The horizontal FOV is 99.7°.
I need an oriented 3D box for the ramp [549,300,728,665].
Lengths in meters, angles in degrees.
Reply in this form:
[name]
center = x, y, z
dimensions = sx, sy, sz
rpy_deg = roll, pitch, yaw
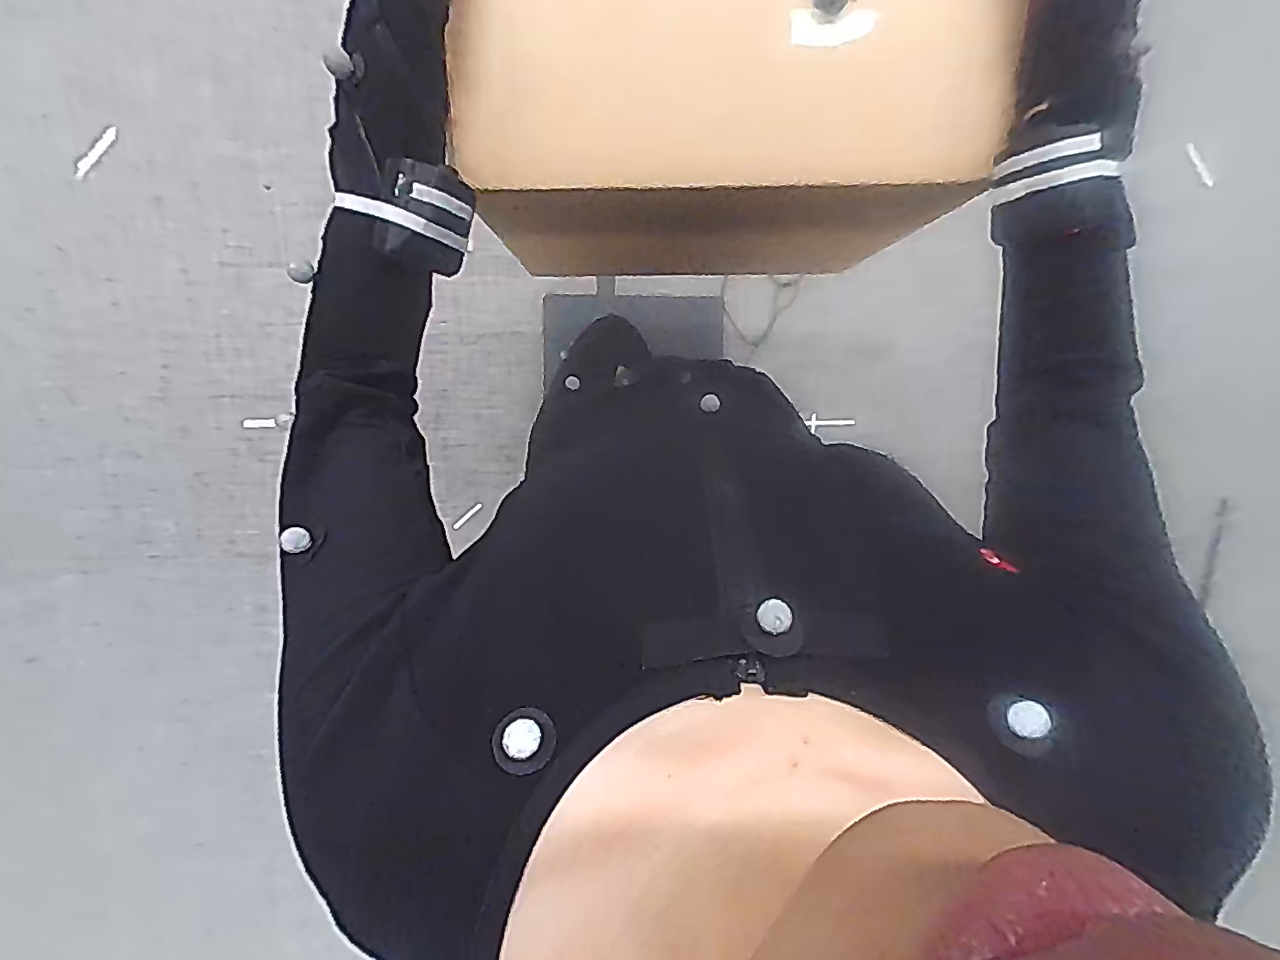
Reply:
[ramp]
center = -0.006, 0.002, 1.480
dimensions = 0.509, 0.206, 0.991
rpy_deg = -2, 99, 0

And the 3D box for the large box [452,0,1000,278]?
[large box]
center = 0.058, -0.398, 0.531
dimensions = 0.408, 0.320, 0.320
rpy_deg = -2, 99, -1
